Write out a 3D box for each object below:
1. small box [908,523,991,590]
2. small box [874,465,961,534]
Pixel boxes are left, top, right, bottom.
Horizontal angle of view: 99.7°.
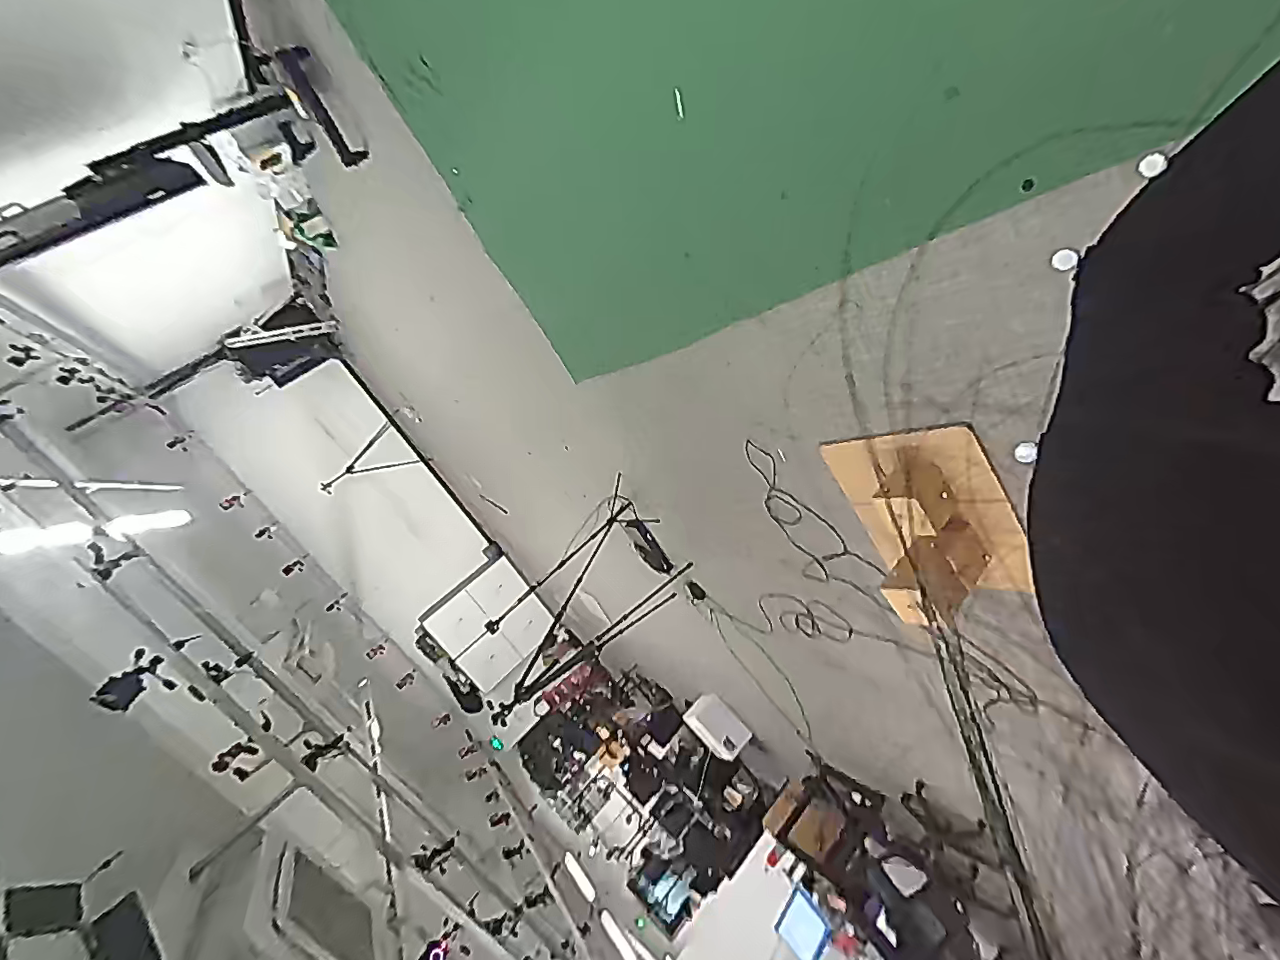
[{"bbox_3d":[1.097,0.265,1.904,0.168,0.176,0.179,53,157,-10],"label":"small box"},{"bbox_3d":[0.953,0.066,1.853,0.168,0.176,0.179,53,156,-14],"label":"small box"}]
